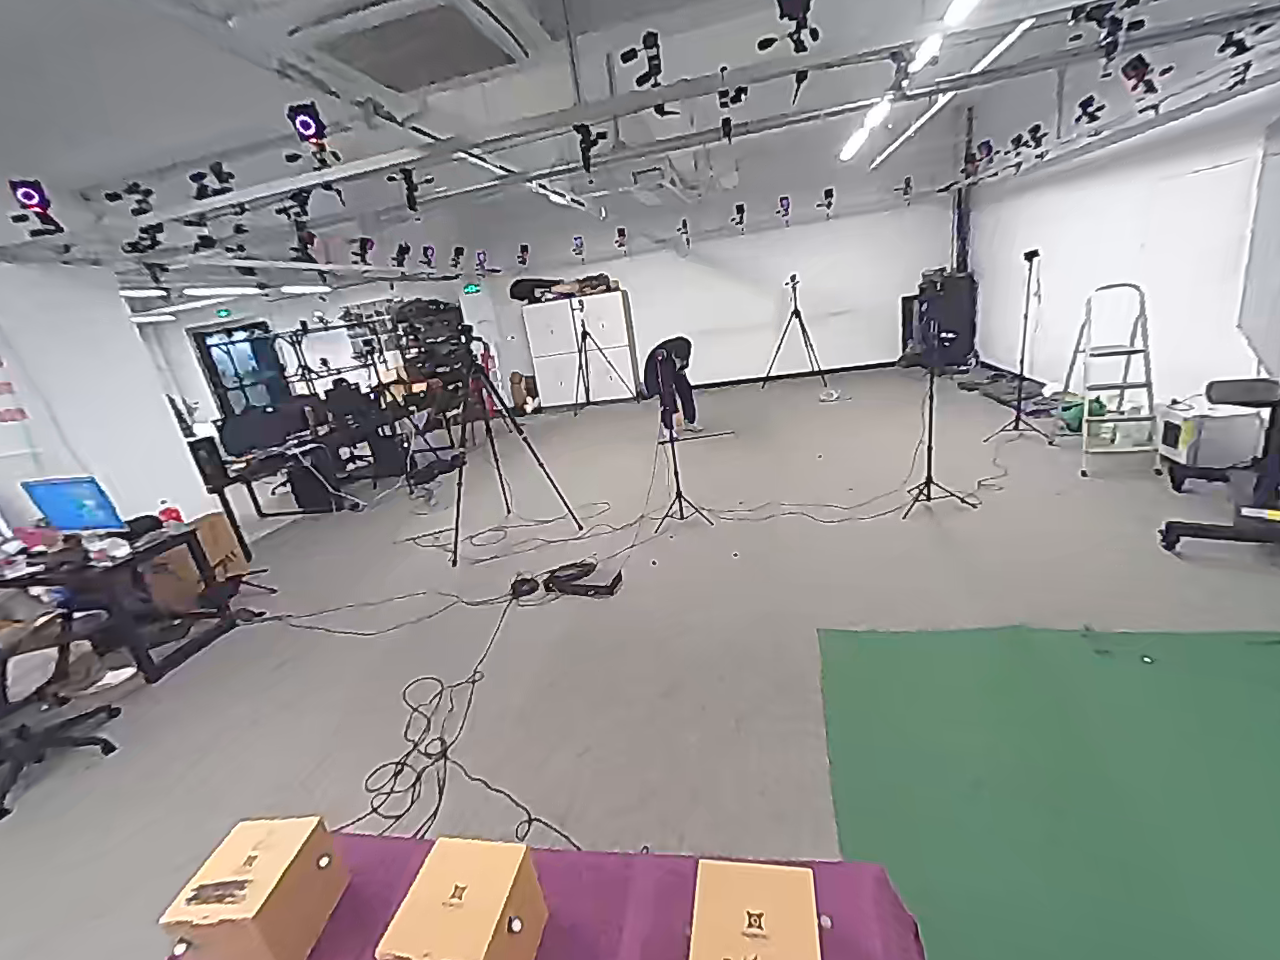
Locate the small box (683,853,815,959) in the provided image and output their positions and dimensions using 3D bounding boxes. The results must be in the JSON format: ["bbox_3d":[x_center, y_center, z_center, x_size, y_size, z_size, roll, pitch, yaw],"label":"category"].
[{"bbox_3d":[0.157,0.665,0.747,0.168,0.176,0.179,-4,20,14],"label":"small box"}]

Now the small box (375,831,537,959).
[{"bbox_3d":[-0.271,0.696,0.845,0.168,0.176,0.179,-4,21,12],"label":"small box"}]
